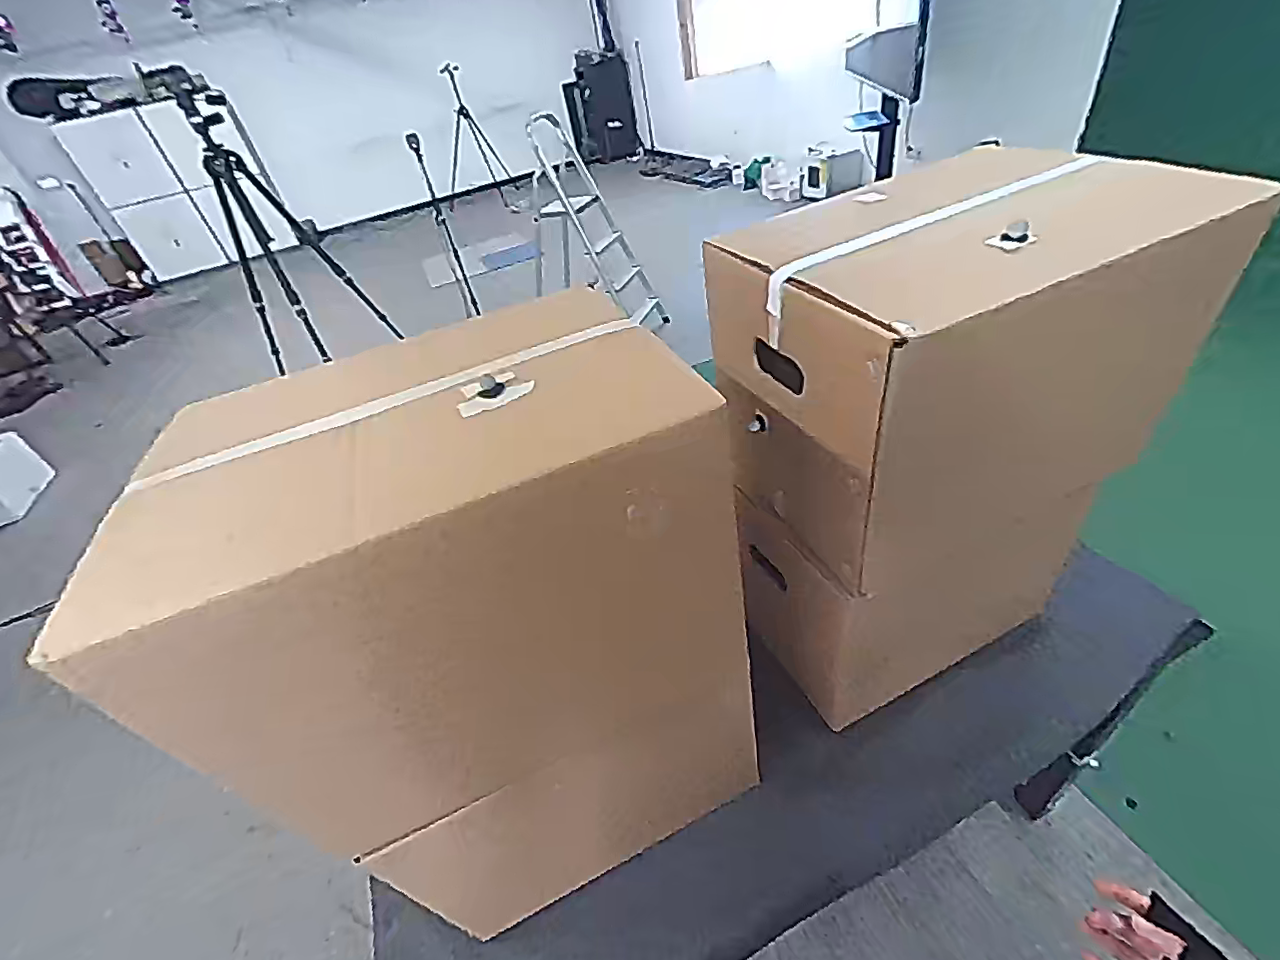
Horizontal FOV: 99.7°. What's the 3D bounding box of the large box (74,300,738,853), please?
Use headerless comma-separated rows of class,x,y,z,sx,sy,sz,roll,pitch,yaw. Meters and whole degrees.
large box,-0.156,0.064,0.531,0.408,0.320,0.320,-21,39,-12
